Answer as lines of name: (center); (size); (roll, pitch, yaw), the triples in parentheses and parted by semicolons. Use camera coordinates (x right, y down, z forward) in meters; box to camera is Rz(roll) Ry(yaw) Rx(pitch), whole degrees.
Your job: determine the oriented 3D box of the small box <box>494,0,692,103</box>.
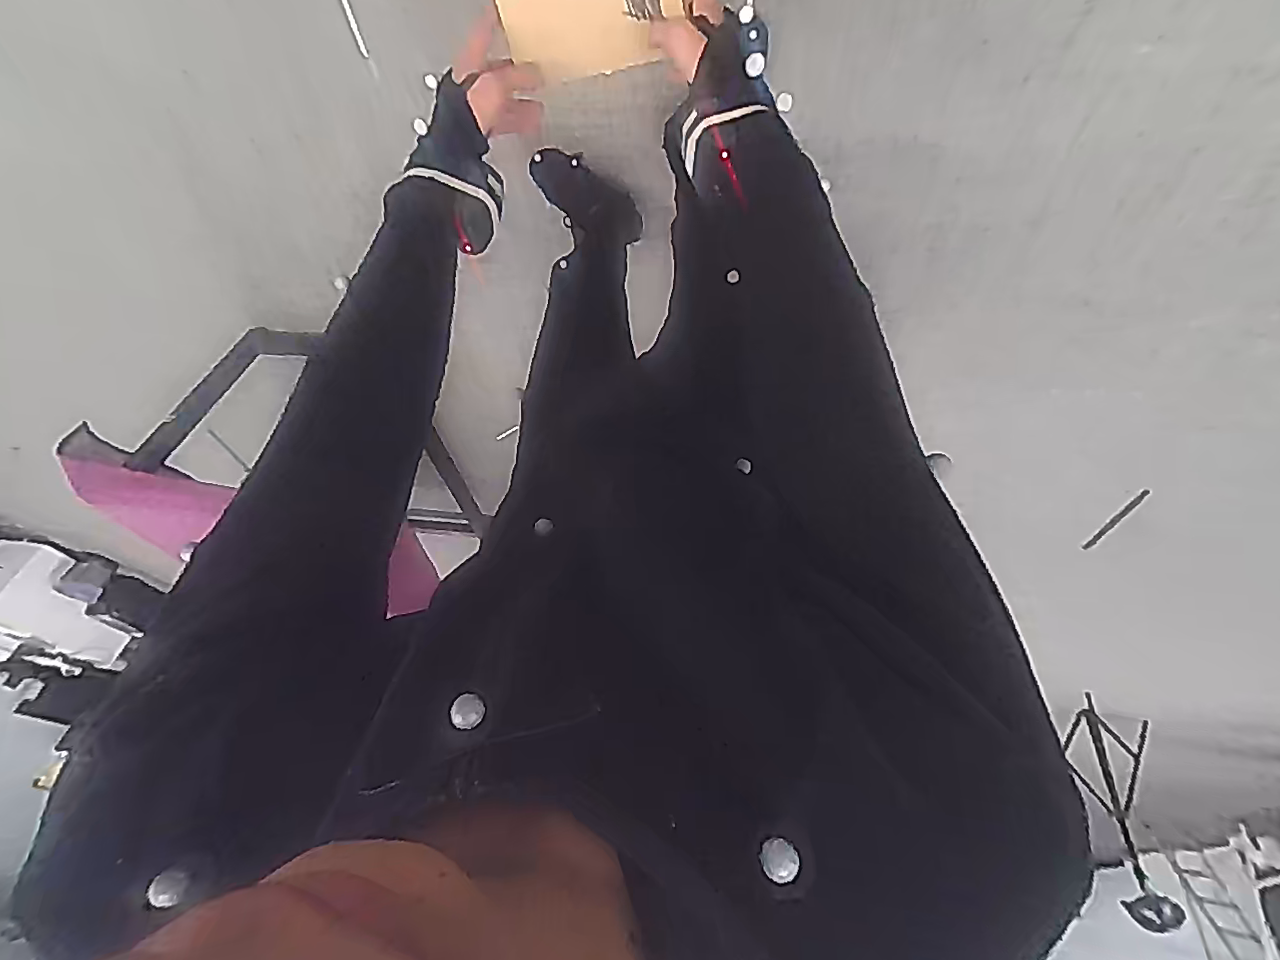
small box: (-0.043, -0.508, 0.534); (0.179, 0.176, 0.168); (-3, 138, 13)
